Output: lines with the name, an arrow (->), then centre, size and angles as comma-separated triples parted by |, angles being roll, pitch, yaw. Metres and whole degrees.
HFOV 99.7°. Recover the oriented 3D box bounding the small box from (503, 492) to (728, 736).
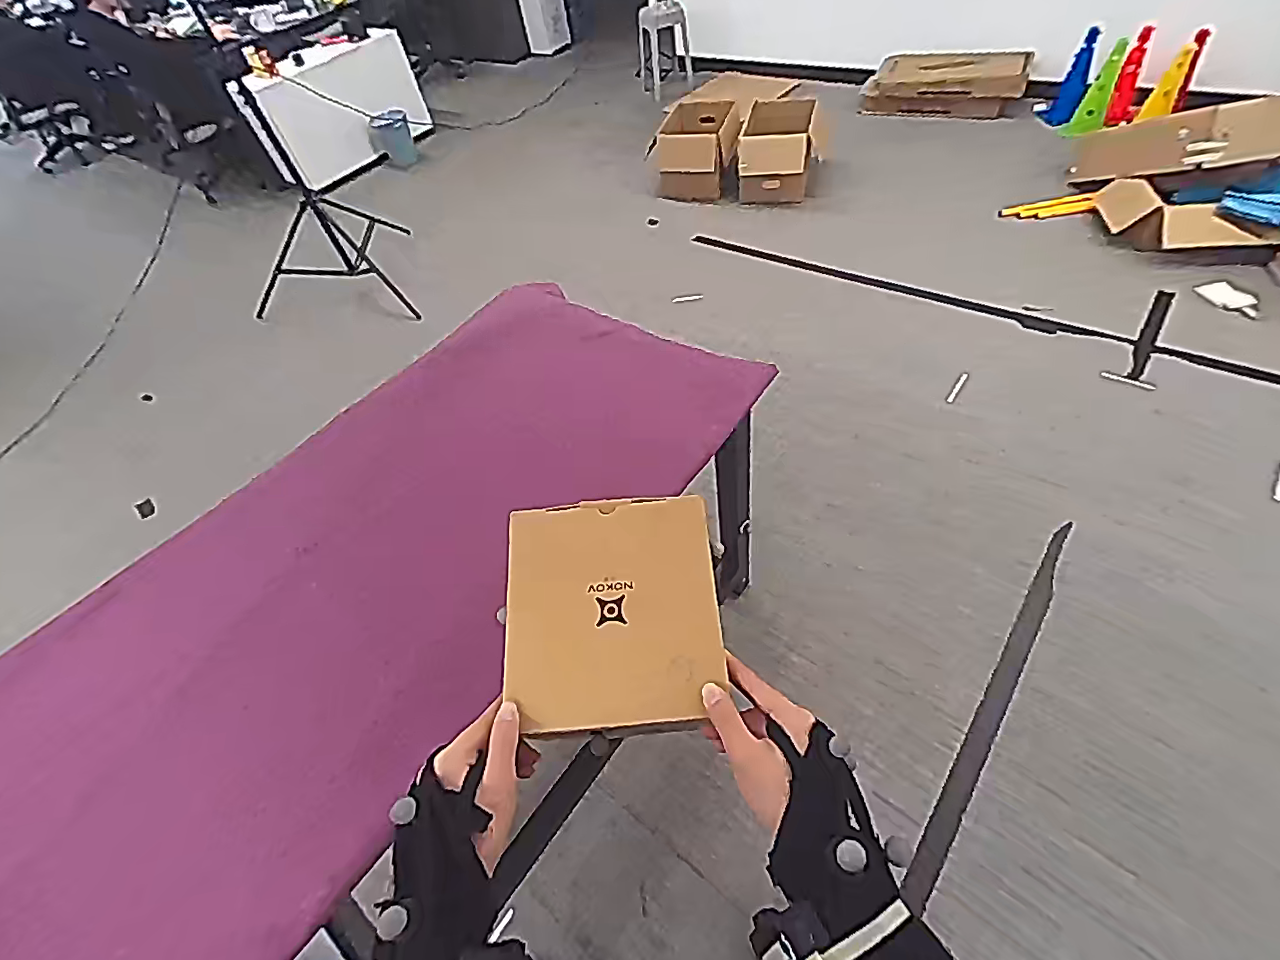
small box -> -0.016, 0.130, 0.490 | 0.168, 0.176, 0.179 | -5, 61, 1
